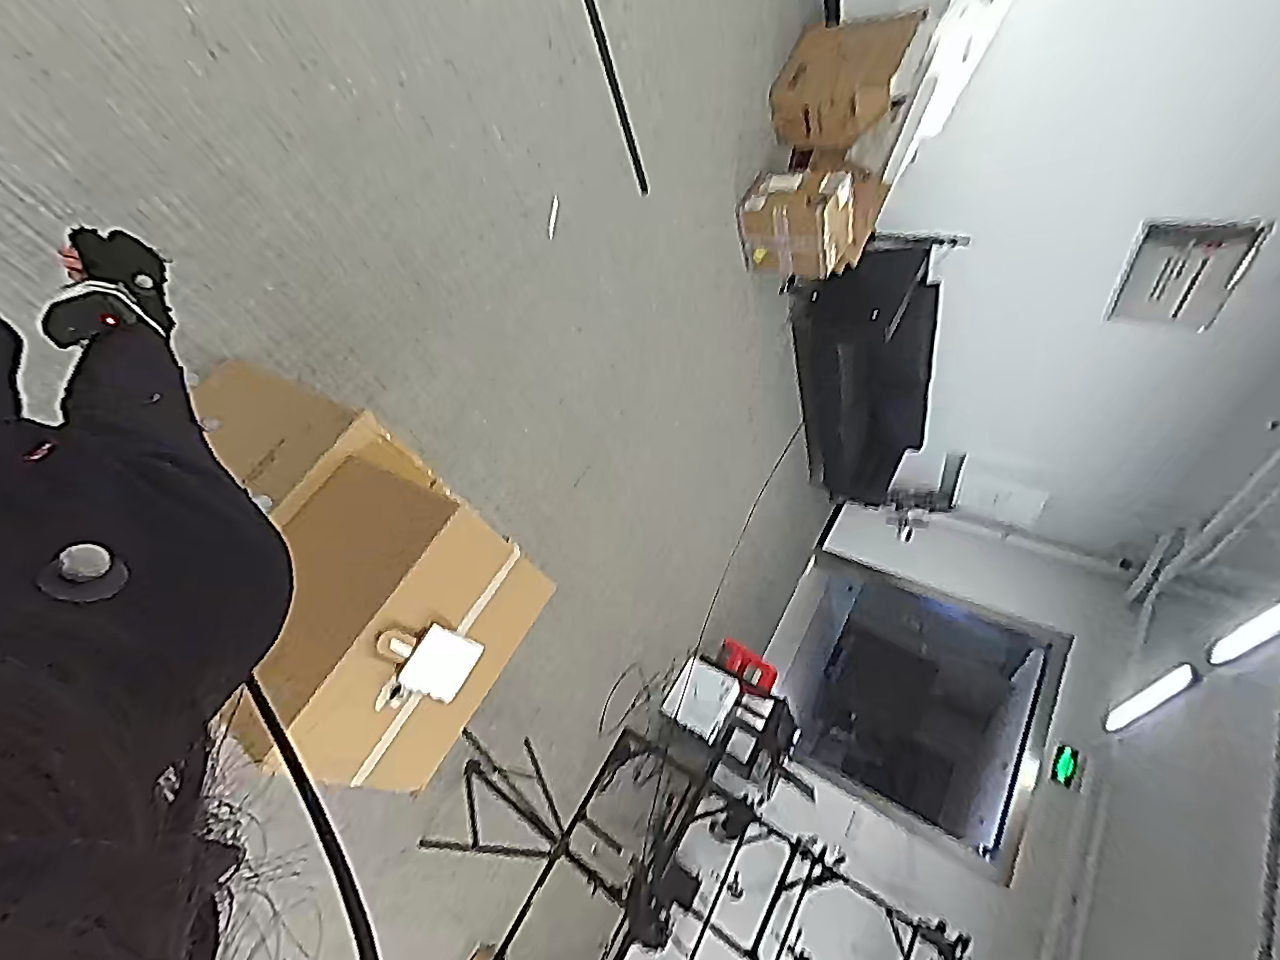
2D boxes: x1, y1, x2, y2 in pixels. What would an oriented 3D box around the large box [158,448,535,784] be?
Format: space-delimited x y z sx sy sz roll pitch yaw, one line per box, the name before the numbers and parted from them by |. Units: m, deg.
large box | -0.462 0.219 0.916 0.408 0.320 0.320 -57 145 -20
